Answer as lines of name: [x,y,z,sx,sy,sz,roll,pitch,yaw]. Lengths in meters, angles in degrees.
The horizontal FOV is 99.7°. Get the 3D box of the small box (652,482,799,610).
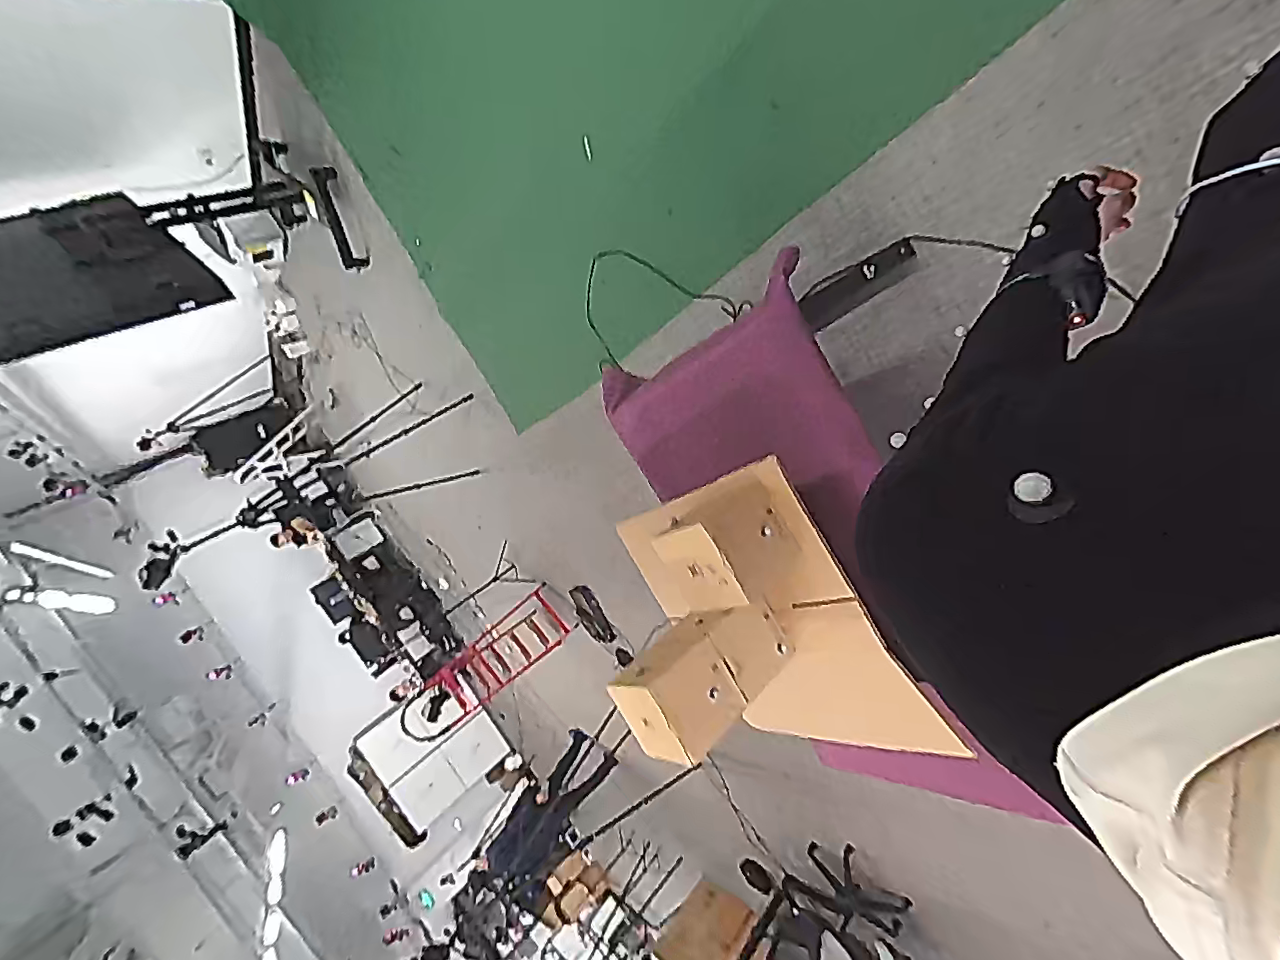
small box: [0.162,0.126,1.019,0.168,0.176,0.179,59,145,-2]

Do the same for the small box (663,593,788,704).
small box: [0.189,0.351,1.156,0.168,0.176,0.179,60,146,-1]

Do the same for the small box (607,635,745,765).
small box: [0.072,0.424,1.070,0.168,0.176,0.179,59,145,0]
